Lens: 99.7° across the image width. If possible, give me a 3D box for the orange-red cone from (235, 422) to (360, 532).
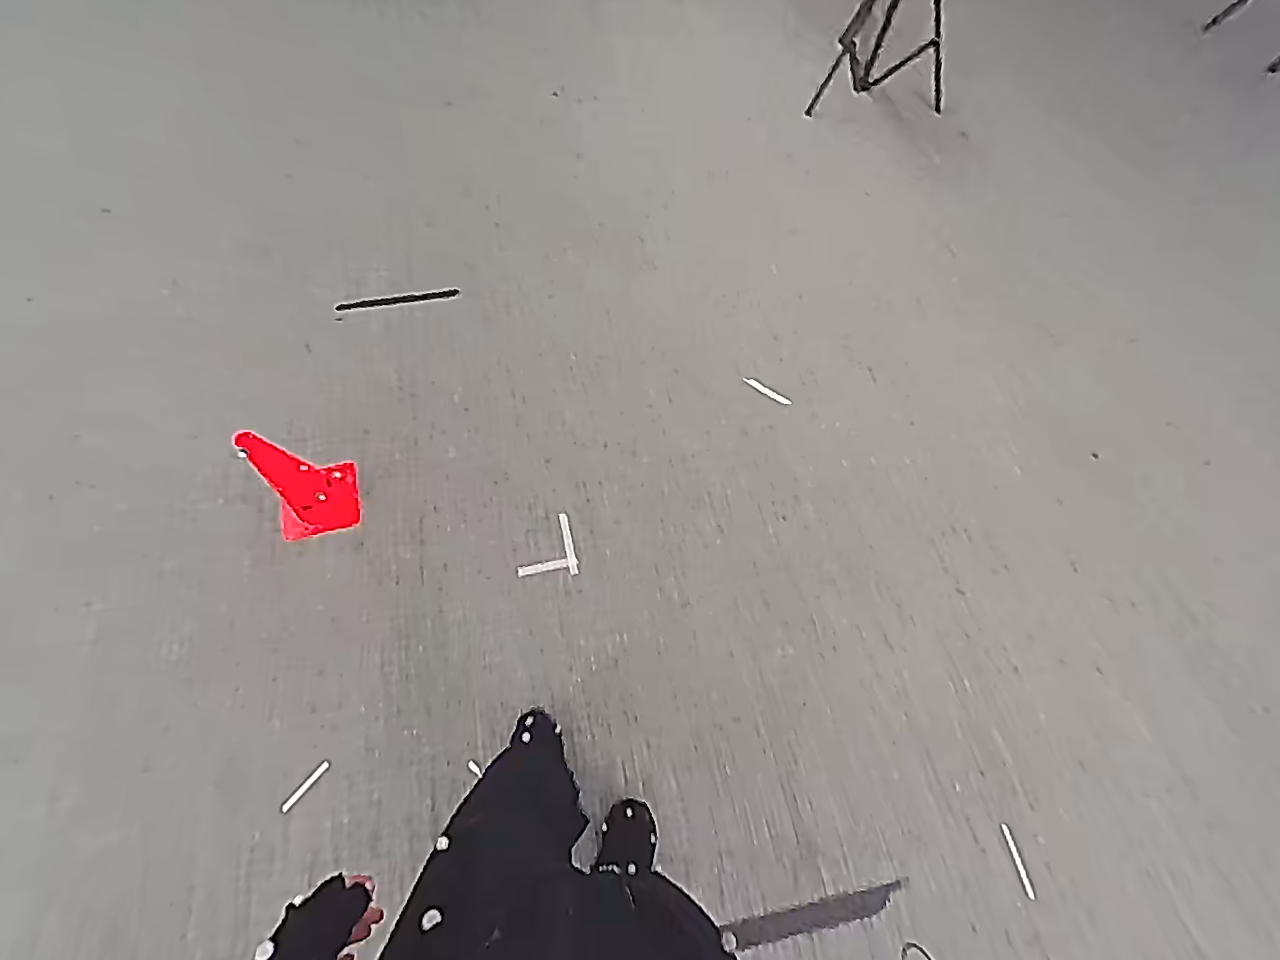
[{"bbox_3d":[-0.860,-0.035,1.318,0.199,0.360,0.198,-13,66,-8],"label":"orange-red cone"}]
